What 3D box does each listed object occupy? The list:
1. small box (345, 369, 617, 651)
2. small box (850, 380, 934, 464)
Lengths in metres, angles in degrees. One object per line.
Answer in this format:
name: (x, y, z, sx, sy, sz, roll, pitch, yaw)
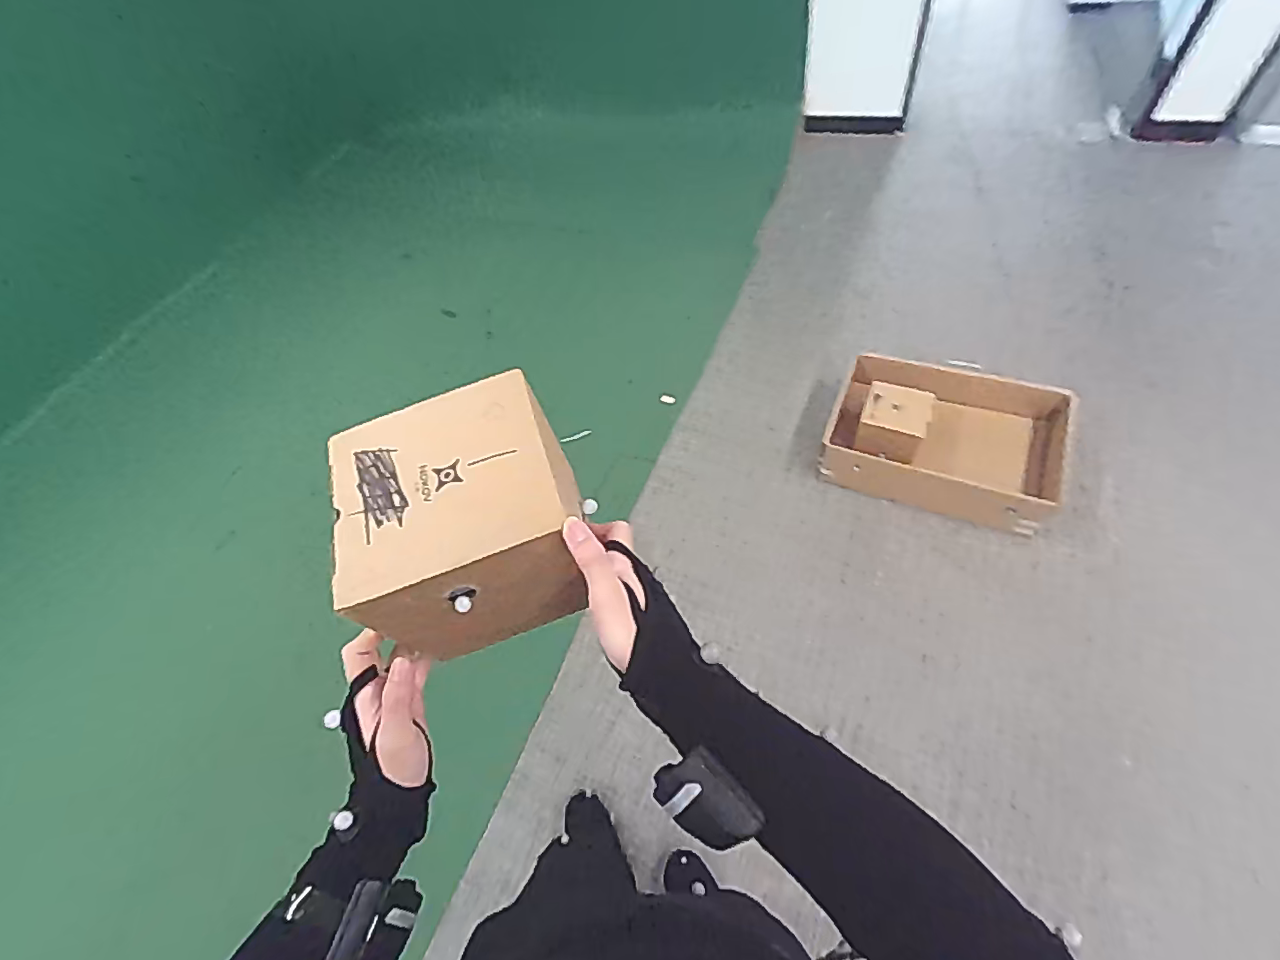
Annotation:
small box: (-0.136, 0.036, 0.491, 0.179, 0.176, 0.168, -19, 58, -2)
small box: (0.763, -0.172, 1.649, 0.179, 0.176, 0.168, 19, 63, 20)
